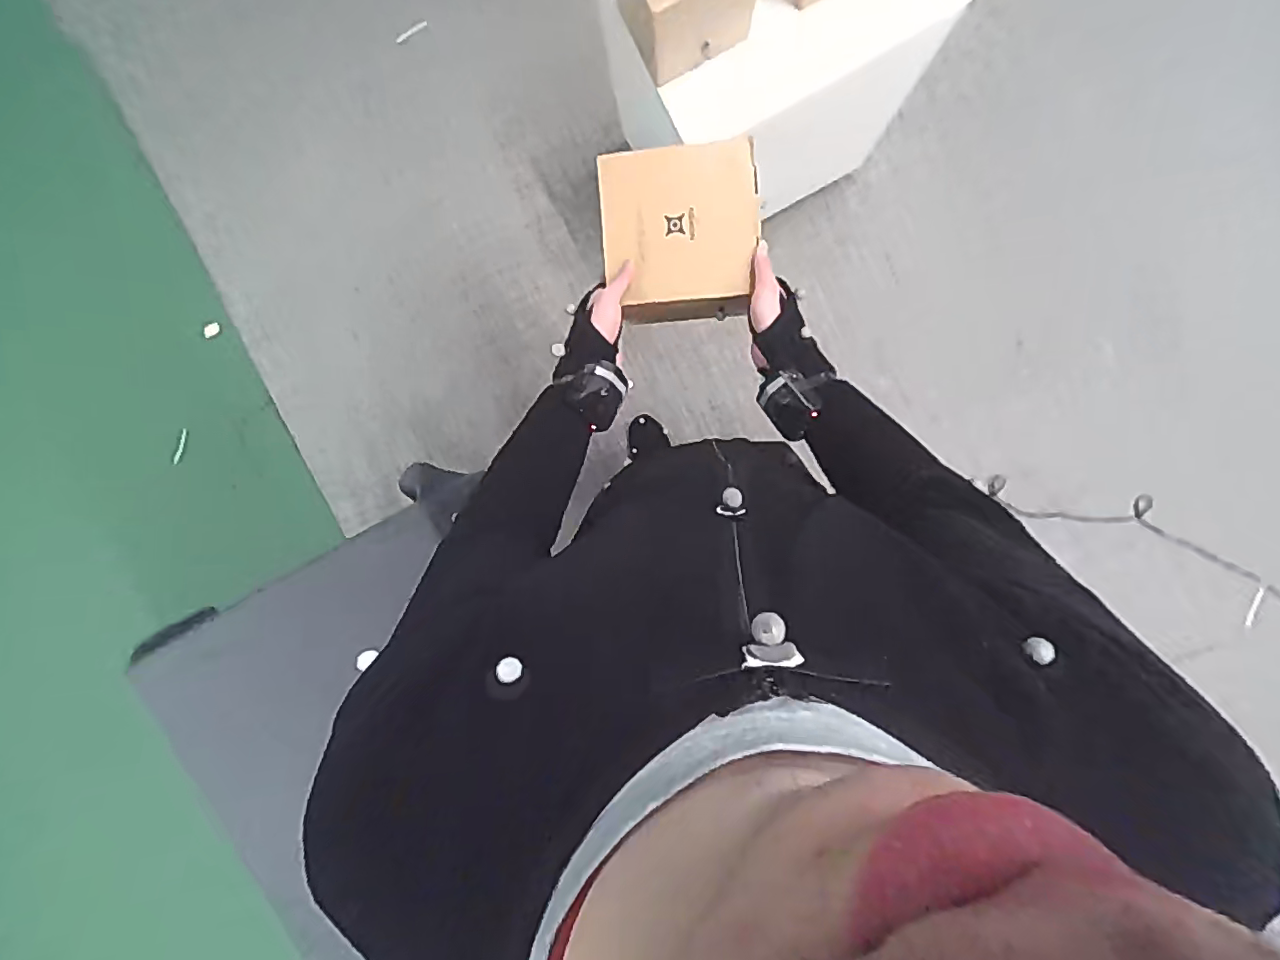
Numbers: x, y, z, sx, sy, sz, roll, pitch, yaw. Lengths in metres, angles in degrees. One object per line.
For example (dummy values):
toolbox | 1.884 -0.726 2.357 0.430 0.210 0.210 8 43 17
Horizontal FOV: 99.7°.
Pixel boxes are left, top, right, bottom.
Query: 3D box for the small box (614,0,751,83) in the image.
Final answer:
small box | 0.061 -0.760 0.812 0.179 0.176 0.168 -26 92 5

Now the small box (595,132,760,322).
small box | 0.052 -0.295 0.670 0.179 0.176 0.168 -2 98 10
